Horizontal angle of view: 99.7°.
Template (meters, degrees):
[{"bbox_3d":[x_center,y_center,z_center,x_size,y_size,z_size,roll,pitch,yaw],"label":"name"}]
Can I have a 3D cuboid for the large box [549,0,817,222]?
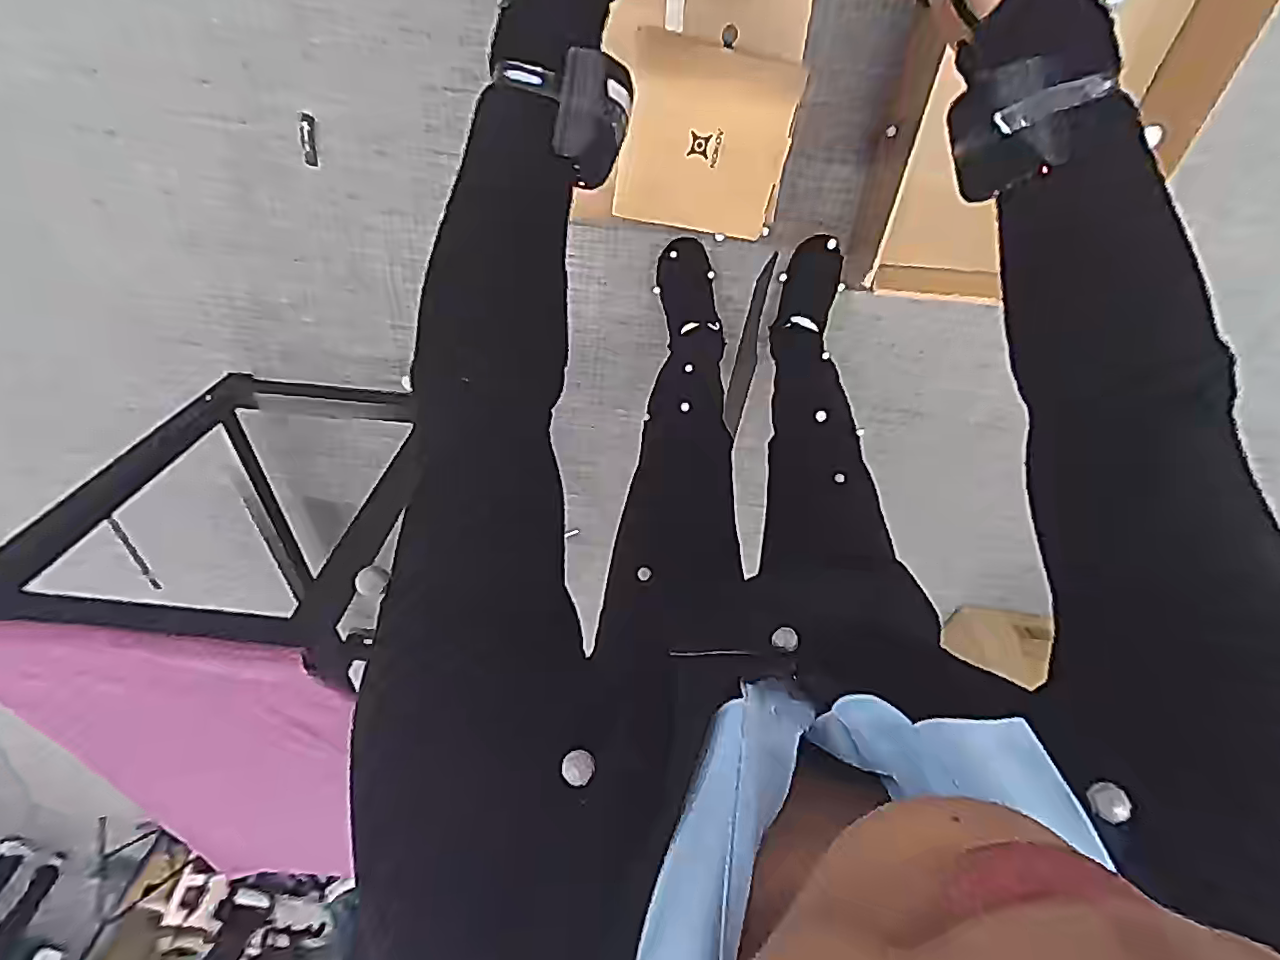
[{"bbox_3d":[0.055,-0.622,0.756,0.320,0.320,0.408,3,131,2],"label":"large box"}]
